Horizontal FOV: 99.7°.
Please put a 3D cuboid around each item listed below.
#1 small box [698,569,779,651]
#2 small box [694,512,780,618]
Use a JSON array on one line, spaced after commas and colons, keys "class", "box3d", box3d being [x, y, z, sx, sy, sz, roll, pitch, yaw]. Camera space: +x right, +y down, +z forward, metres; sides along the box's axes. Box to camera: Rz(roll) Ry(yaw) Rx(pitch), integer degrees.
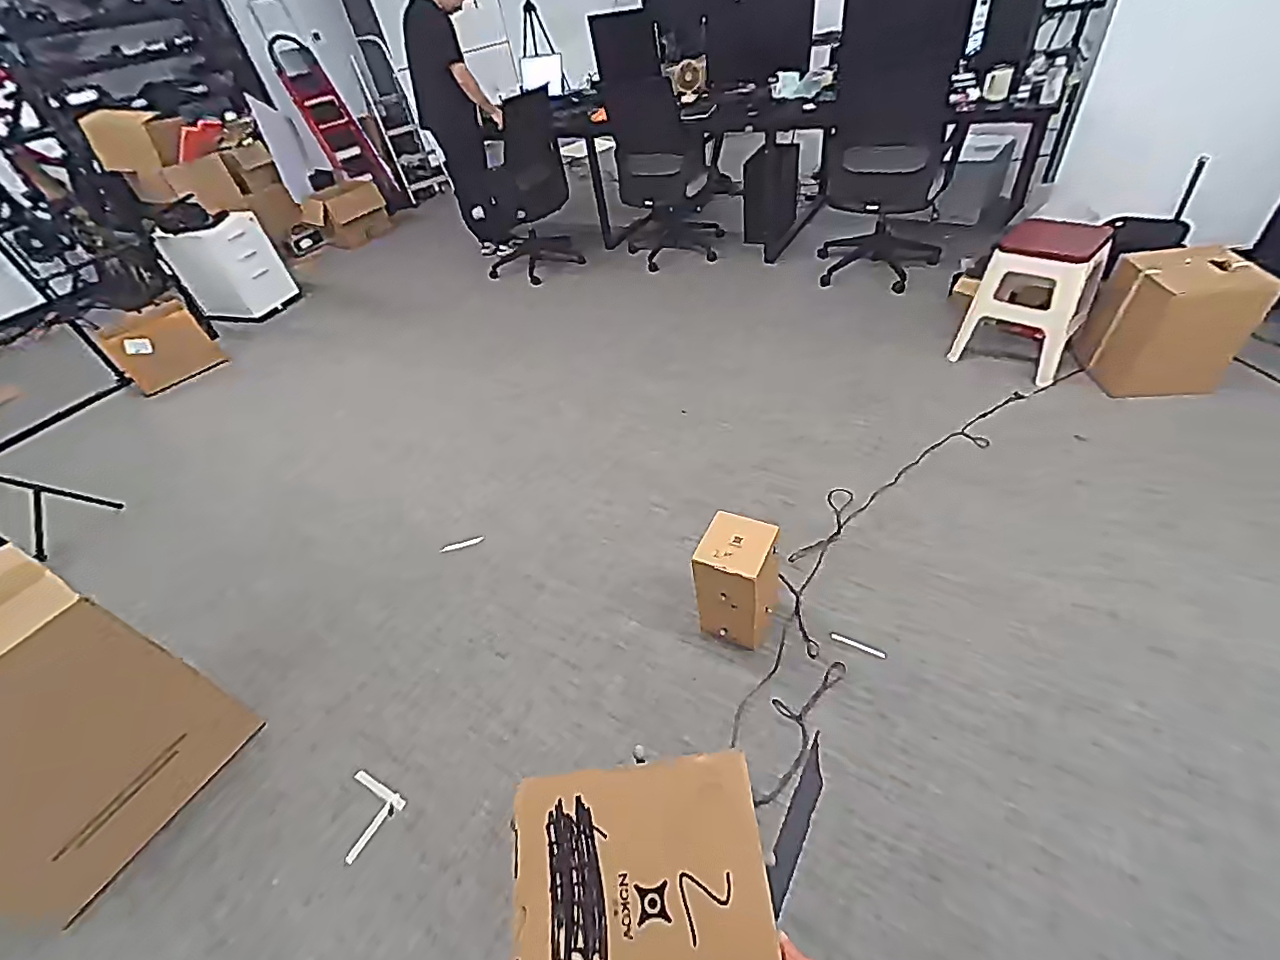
[{"class": "small box", "box3d": [0.273, 0.335, 1.494, 0.168, 0.176, 0.179, 16, 50, 27]}, {"class": "small box", "box3d": [0.250, 0.216, 1.382, 0.168, 0.176, 0.179, 15, 49, 26]}]
